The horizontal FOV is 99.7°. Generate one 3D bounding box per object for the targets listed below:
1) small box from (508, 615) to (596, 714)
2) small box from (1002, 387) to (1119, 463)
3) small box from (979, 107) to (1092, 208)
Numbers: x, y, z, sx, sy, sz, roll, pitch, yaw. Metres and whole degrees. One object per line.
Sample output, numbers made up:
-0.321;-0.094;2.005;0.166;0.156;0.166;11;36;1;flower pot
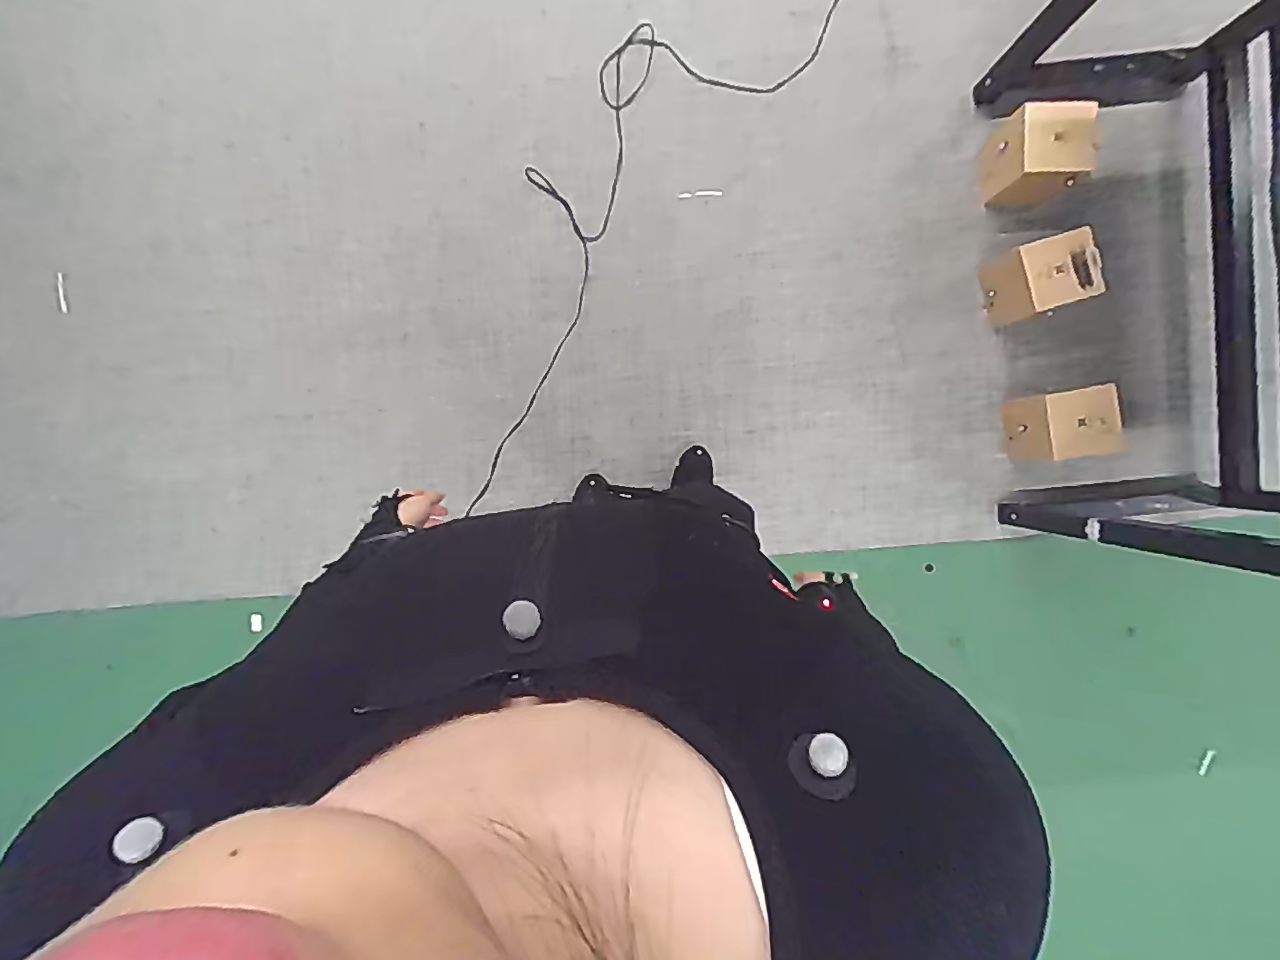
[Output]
-0.223;0.476;1.423;0.179;0.176;0.168;-21;92;2;small box
1.073;-0.136;1.397;0.179;0.176;0.168;-10;93;0;small box
0.994;-0.811;1.372;0.179;0.176;0.168;-1;92;0;small box
